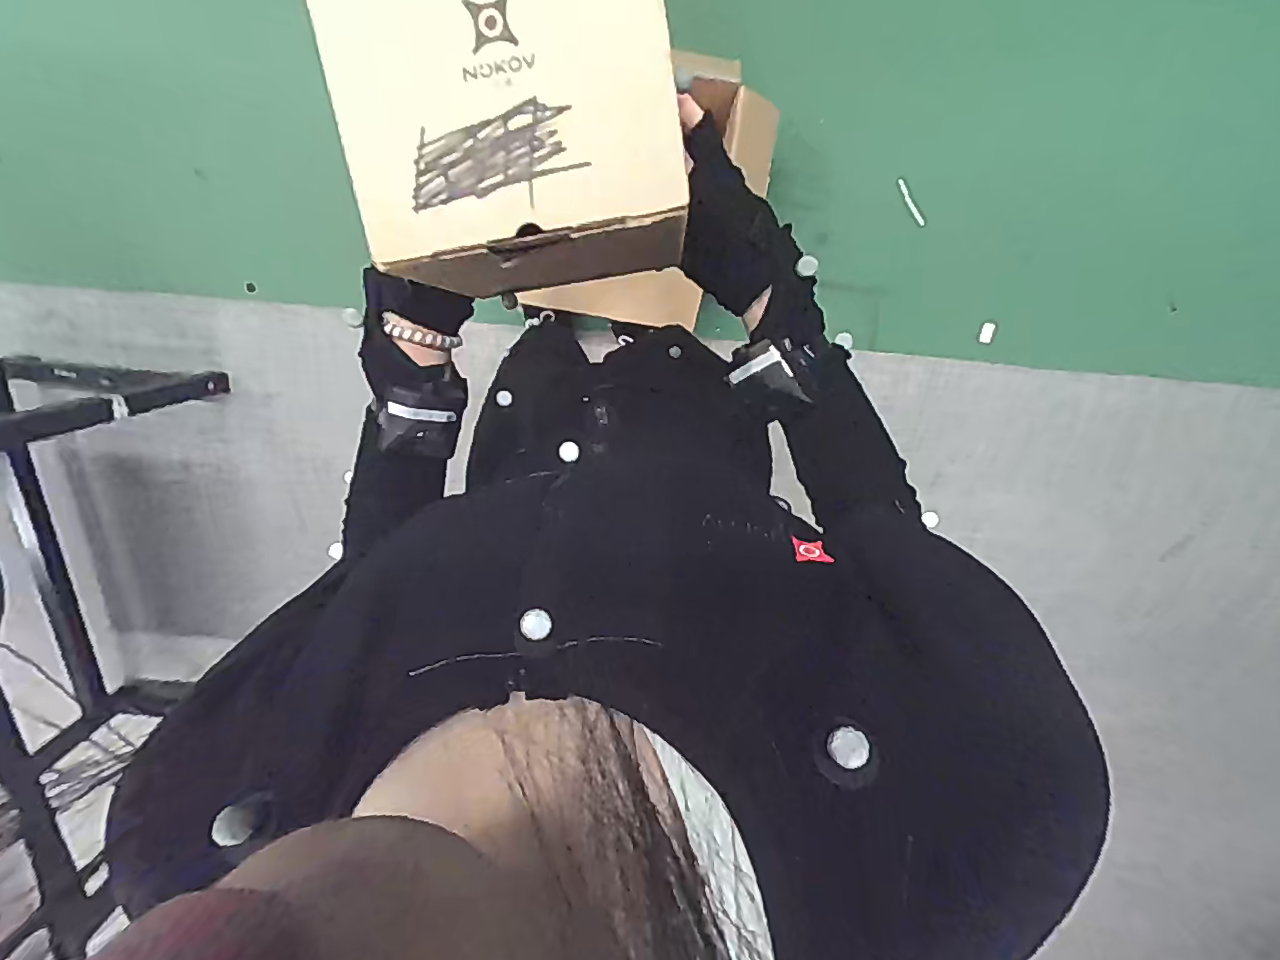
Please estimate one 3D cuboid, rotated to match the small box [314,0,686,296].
[{"bbox_3d":[-0.064,-0.217,0.336,0.168,0.176,0.179,-8,102,4],"label":"small box"}]
